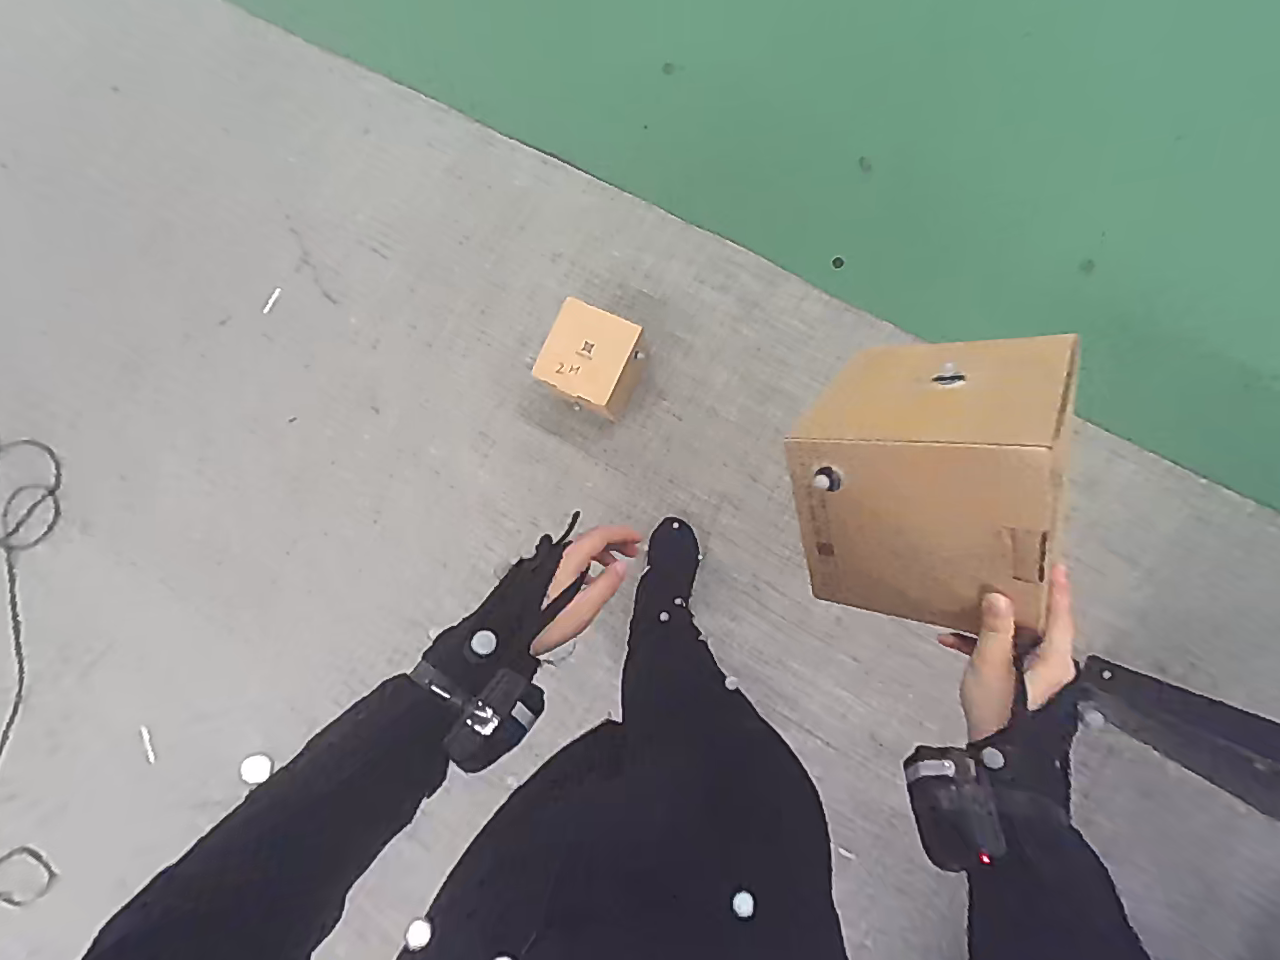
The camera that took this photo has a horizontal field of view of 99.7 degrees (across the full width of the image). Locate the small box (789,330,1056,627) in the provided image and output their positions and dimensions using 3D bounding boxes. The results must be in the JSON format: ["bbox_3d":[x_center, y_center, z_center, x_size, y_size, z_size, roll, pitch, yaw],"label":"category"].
[{"bbox_3d":[0.236,-0.010,0.456,0.176,0.179,0.168,5,125,39],"label":"small box"}]

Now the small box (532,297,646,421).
[{"bbox_3d":[-0.096,-0.243,1.125,0.168,0.176,0.179,25,90,8],"label":"small box"}]
